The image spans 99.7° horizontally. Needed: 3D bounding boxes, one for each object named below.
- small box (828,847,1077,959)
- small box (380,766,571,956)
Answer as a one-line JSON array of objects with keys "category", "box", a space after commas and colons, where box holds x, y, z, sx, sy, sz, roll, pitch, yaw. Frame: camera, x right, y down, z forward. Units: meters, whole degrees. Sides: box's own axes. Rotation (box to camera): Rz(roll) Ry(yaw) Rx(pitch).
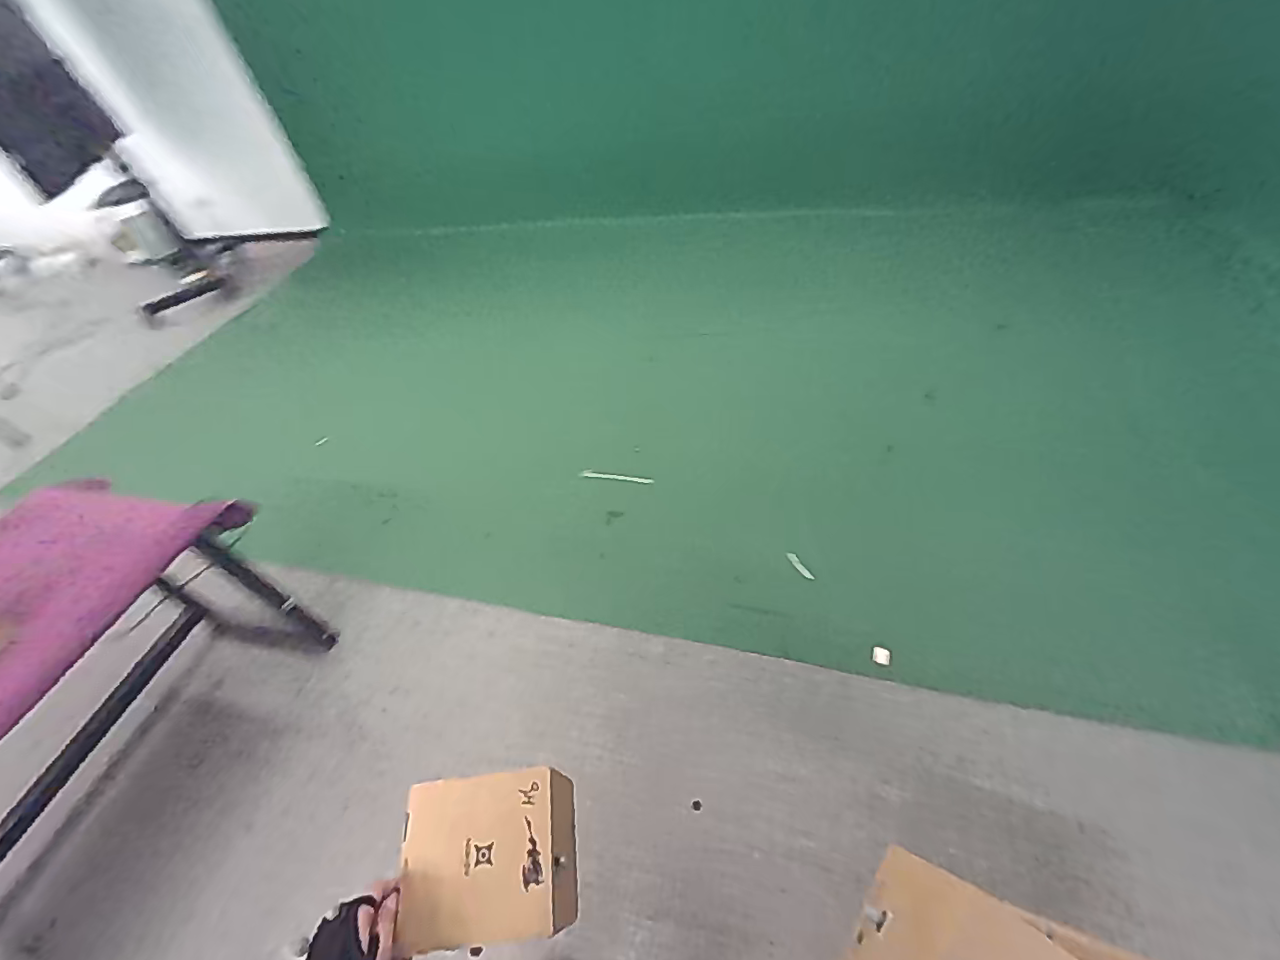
[{"category": "small box", "box": [0.318, 0.503, 0.531, 0.179, 0.176, 0.168, 31, 69, 12]}, {"category": "small box", "box": [-0.191, 0.473, 0.681, 0.179, 0.176, 0.168, -8, 55, 0]}]
